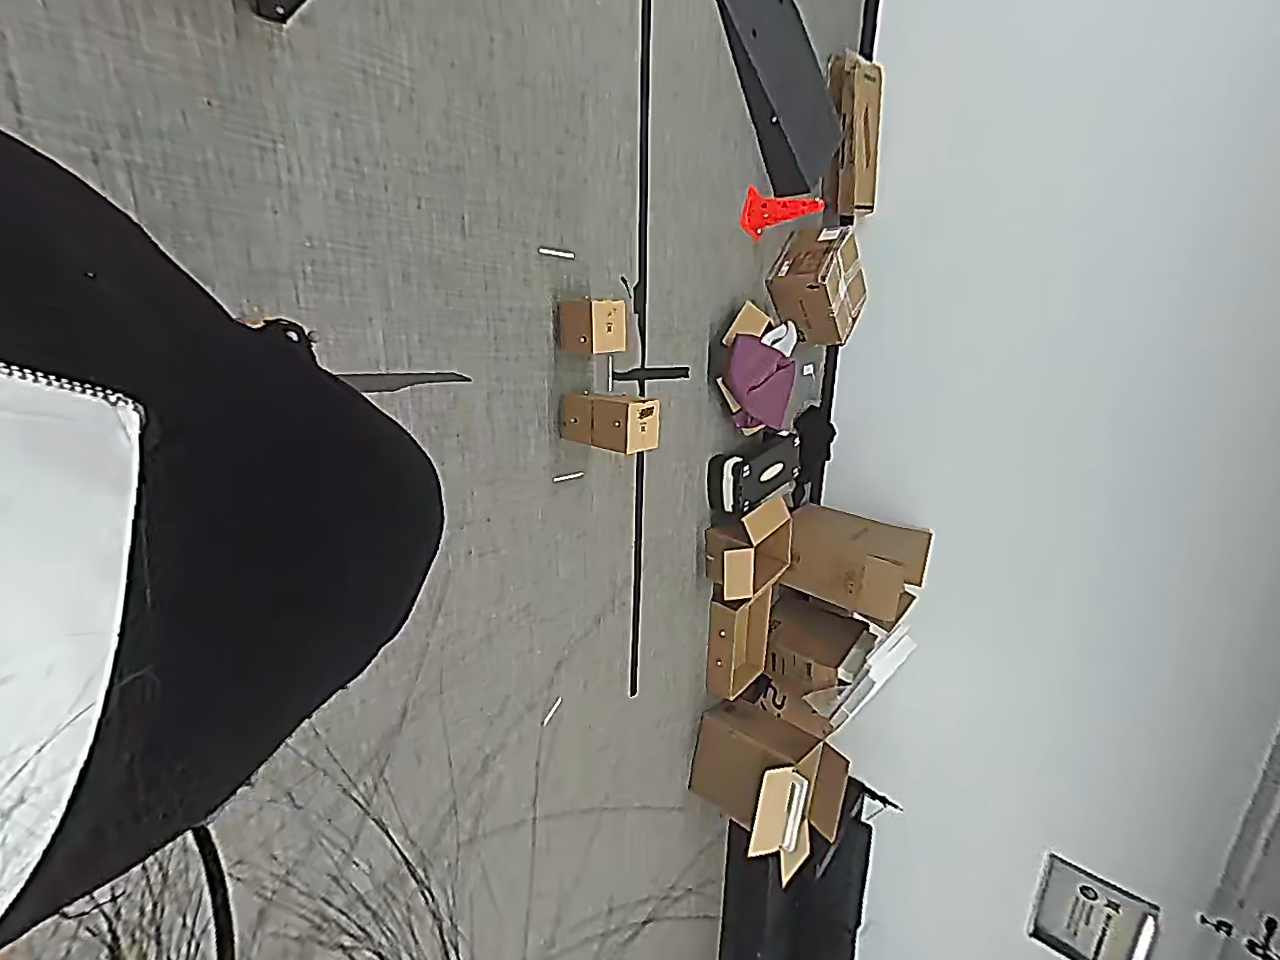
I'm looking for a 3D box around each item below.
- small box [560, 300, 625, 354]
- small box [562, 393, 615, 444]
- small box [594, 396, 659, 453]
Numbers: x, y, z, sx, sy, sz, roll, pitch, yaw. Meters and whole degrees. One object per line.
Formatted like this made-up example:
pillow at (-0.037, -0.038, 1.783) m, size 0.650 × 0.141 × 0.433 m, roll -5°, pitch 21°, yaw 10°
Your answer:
small box at (-0.169, -0.546, 1.917) m, size 0.168 × 0.176 × 0.179 m, roll -20°, pitch 116°, yaw -46°
small box at (-0.175, -0.232, 2.013) m, size 0.179 × 0.176 × 0.168 m, roll -13°, pitch 112°, yaw -46°
small box at (-0.050, -0.203, 1.908) m, size 0.168 × 0.176 × 0.179 m, roll -16°, pitch 114°, yaw -47°
